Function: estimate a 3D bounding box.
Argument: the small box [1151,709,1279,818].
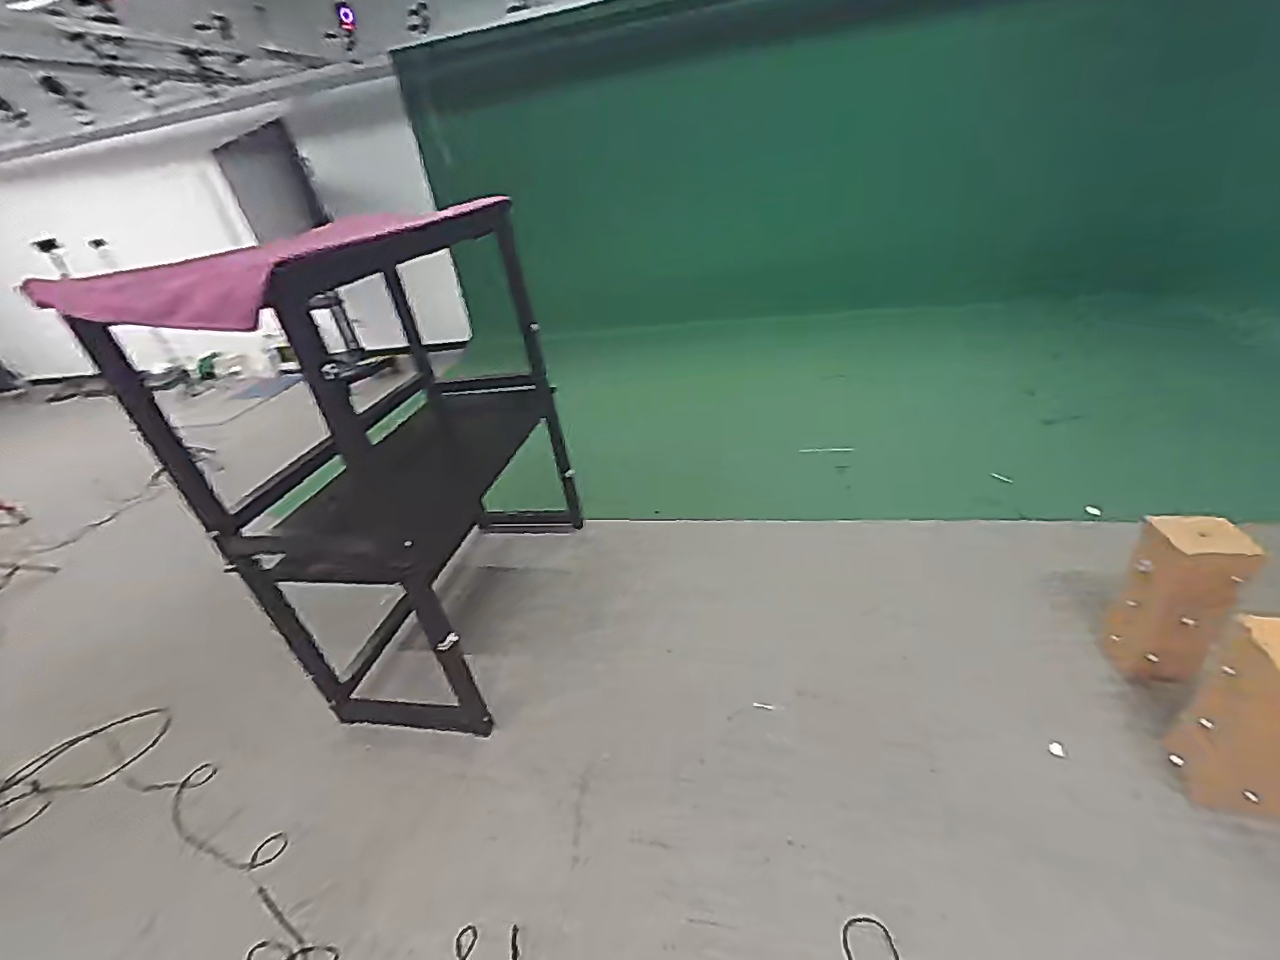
[{"bbox_3d":[1.439,0.705,1.345,0.179,0.176,0.168,2,33,19],"label":"small box"}]

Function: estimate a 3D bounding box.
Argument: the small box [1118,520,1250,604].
[{"bbox_3d":[1.481,0.225,1.487,0.179,0.176,0.168,-2,30,12],"label":"small box"}]
